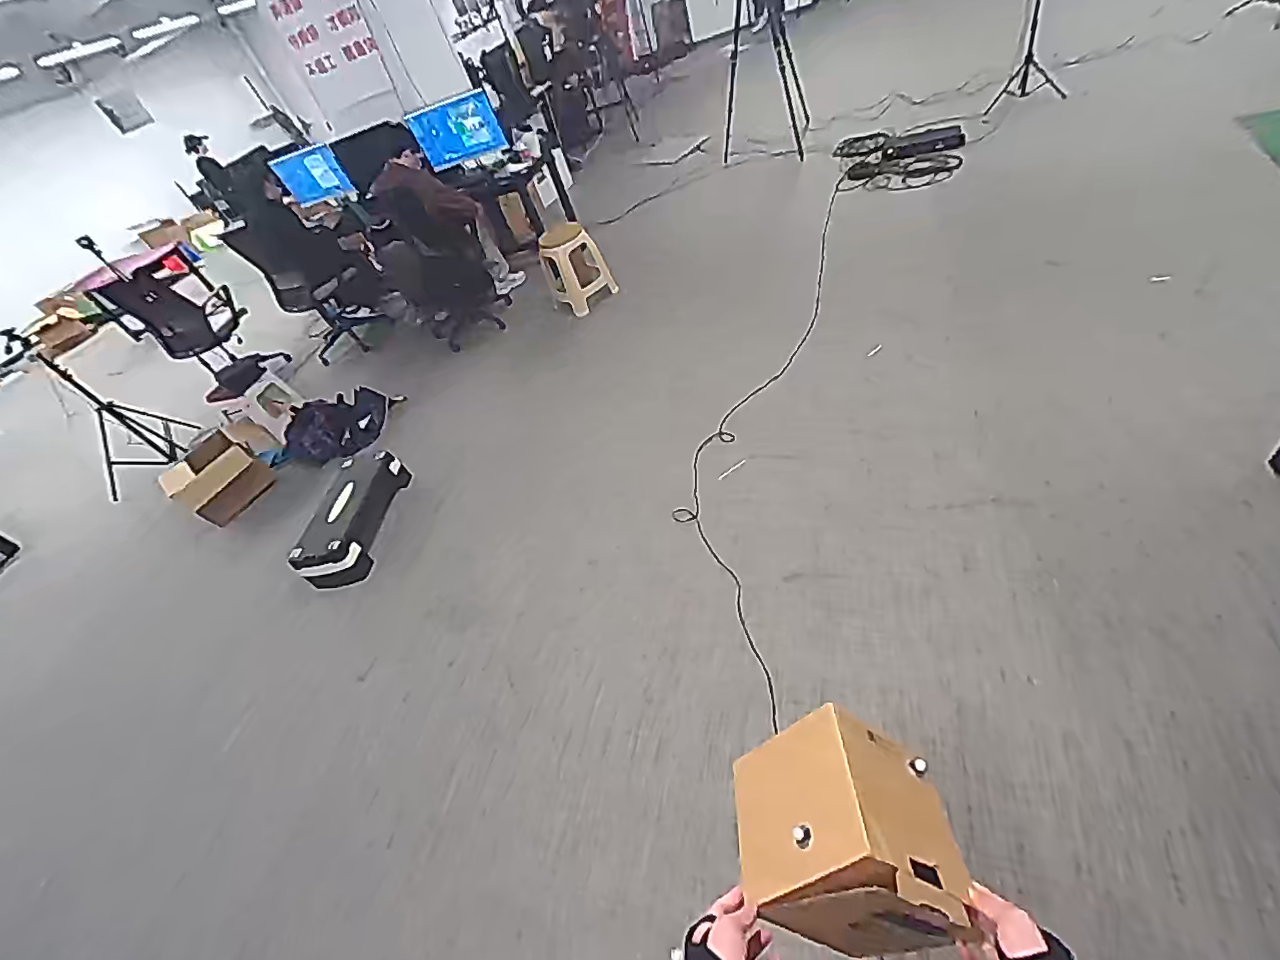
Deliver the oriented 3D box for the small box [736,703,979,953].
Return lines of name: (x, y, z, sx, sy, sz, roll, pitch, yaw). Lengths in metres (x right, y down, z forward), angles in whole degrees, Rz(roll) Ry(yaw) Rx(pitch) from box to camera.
small box: (0.226, 0.389, 0.616, 0.179, 0.168, 0.176, -47, 18, 27)
